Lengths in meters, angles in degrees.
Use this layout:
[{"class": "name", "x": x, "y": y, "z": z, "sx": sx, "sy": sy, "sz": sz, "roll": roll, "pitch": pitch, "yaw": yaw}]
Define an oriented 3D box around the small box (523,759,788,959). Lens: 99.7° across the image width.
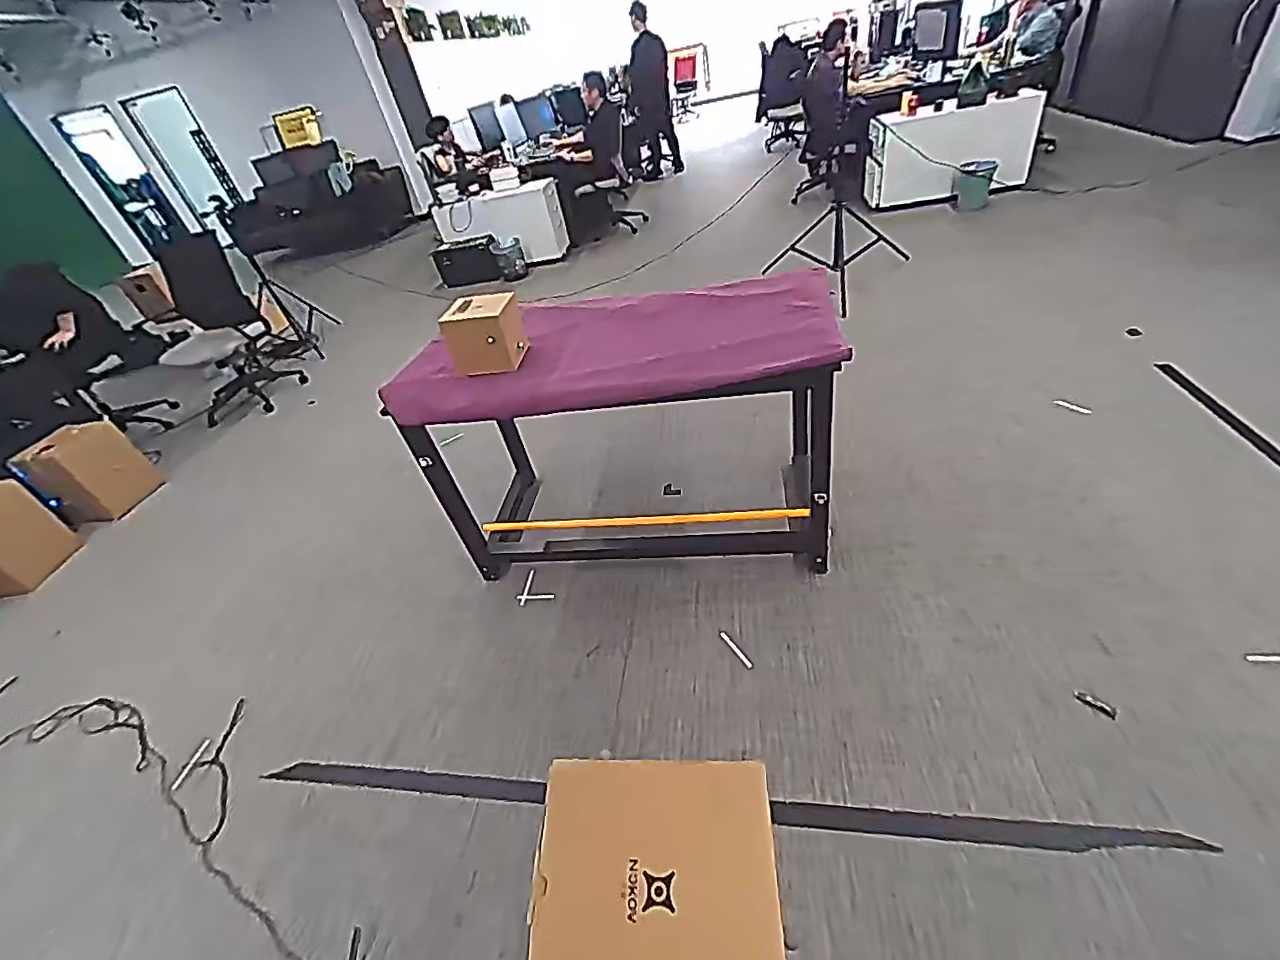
[{"class": "small box", "x": 0.021, "y": 0.334, "z": 0.435, "sx": 0.179, "sy": 0.176, "sz": 0.168, "roll": -6, "pitch": 49, "yaw": 9}]
